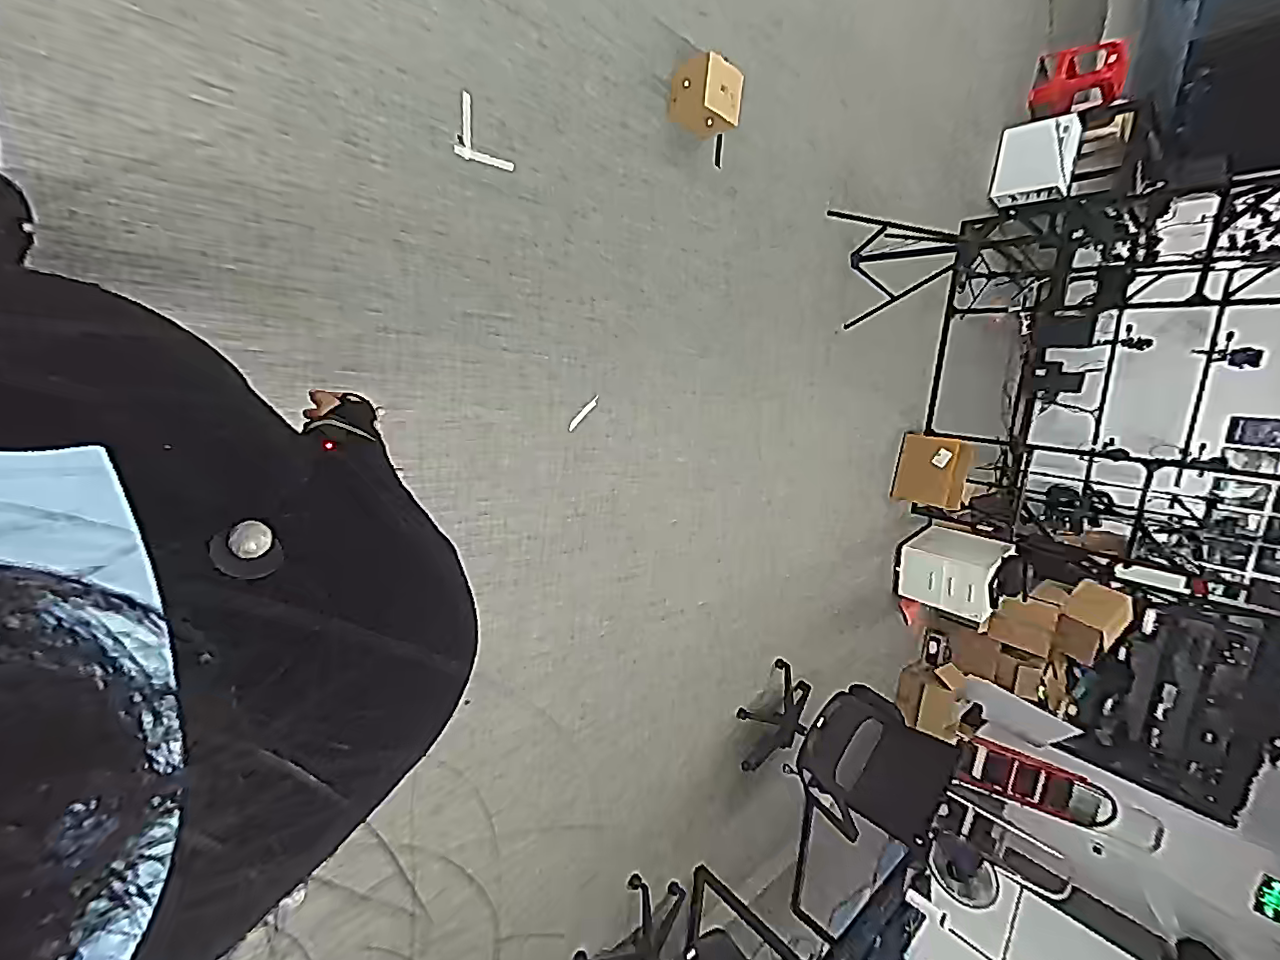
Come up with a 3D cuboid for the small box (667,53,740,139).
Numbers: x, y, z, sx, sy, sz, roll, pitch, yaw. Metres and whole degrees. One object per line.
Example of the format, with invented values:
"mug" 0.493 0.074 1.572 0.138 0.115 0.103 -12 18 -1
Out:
"small box" 0.214 -1.302 1.850 0.179 0.176 0.168 -1 102 -43
